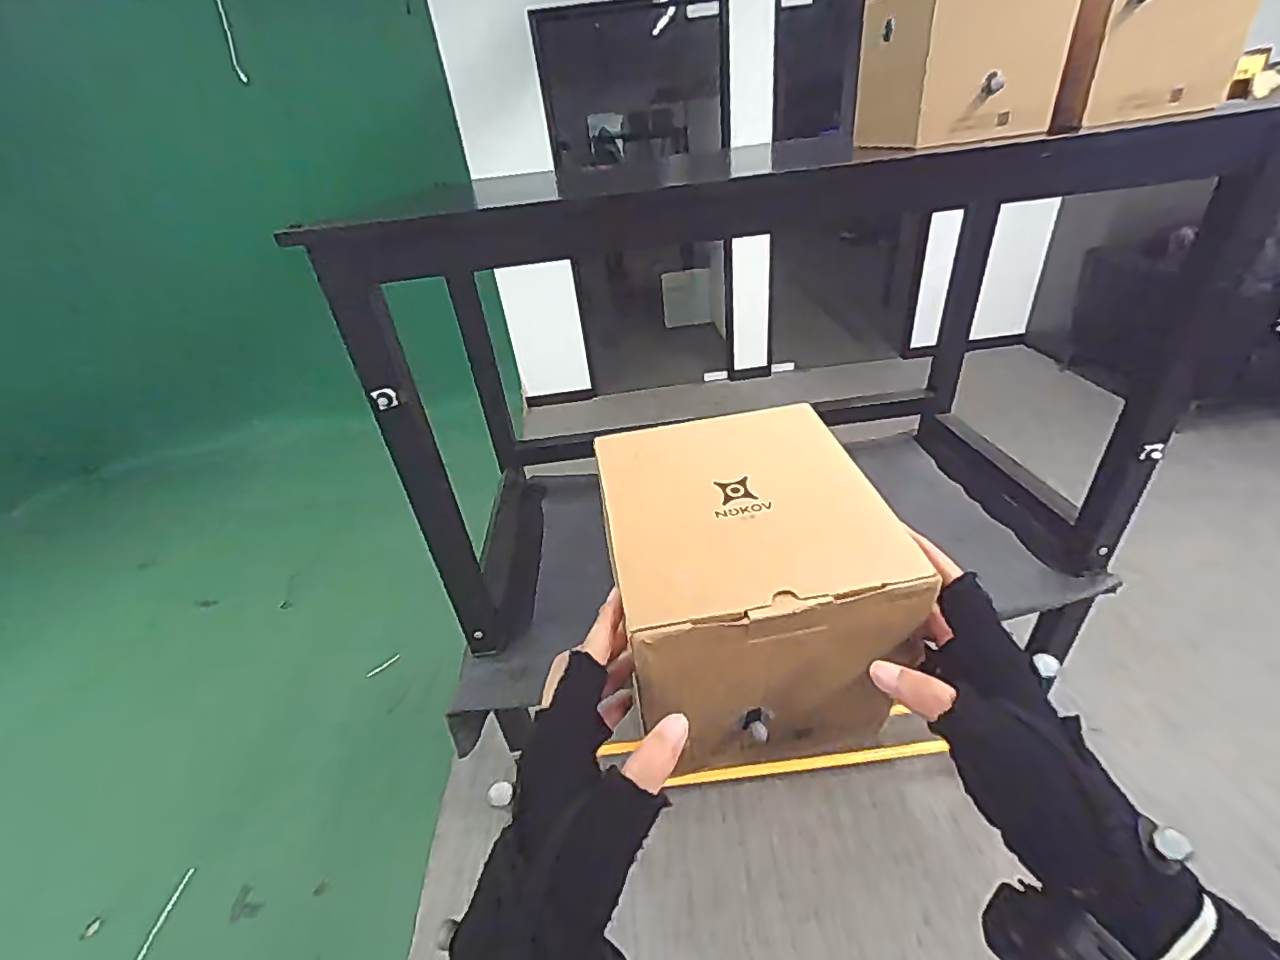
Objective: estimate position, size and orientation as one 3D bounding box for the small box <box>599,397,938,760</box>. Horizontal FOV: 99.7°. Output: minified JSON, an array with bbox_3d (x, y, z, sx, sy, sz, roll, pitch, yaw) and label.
[{"bbox_3d":[0.066,0.064,0.386,0.168,0.176,0.179,-10,40,-4],"label":"small box"}]

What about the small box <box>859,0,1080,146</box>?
[{"bbox_3d":[0.390,-0.519,0.671,0.168,0.176,0.179,-8,33,-1],"label":"small box"}]
